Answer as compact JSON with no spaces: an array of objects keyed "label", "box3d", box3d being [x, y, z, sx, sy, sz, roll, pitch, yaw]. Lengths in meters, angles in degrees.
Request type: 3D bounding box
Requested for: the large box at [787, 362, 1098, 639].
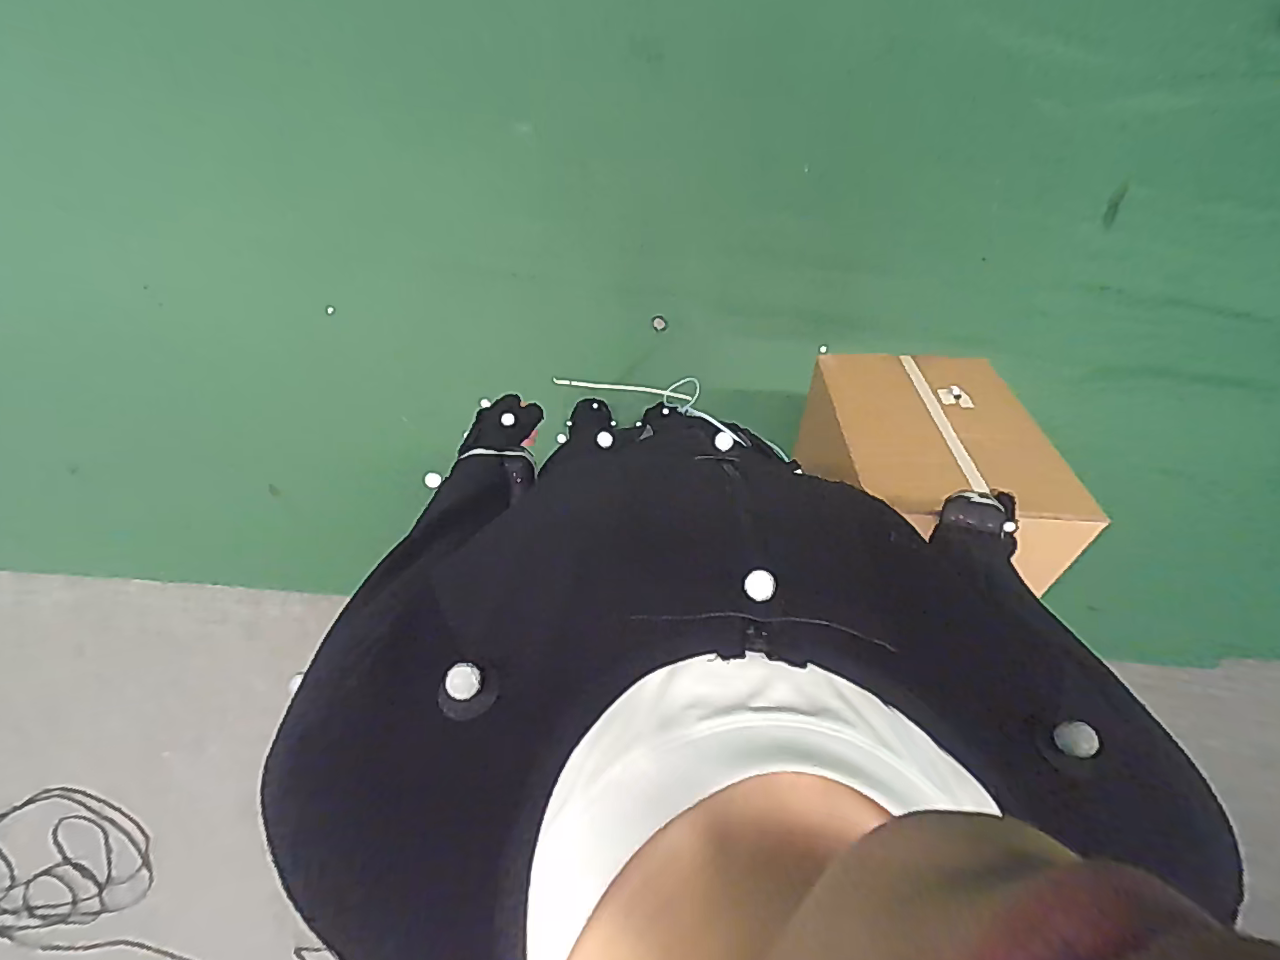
[{"label":"large box","box3d":[0.472,0.031,0.972,0.320,0.408,0.320,3,133,1]}]
